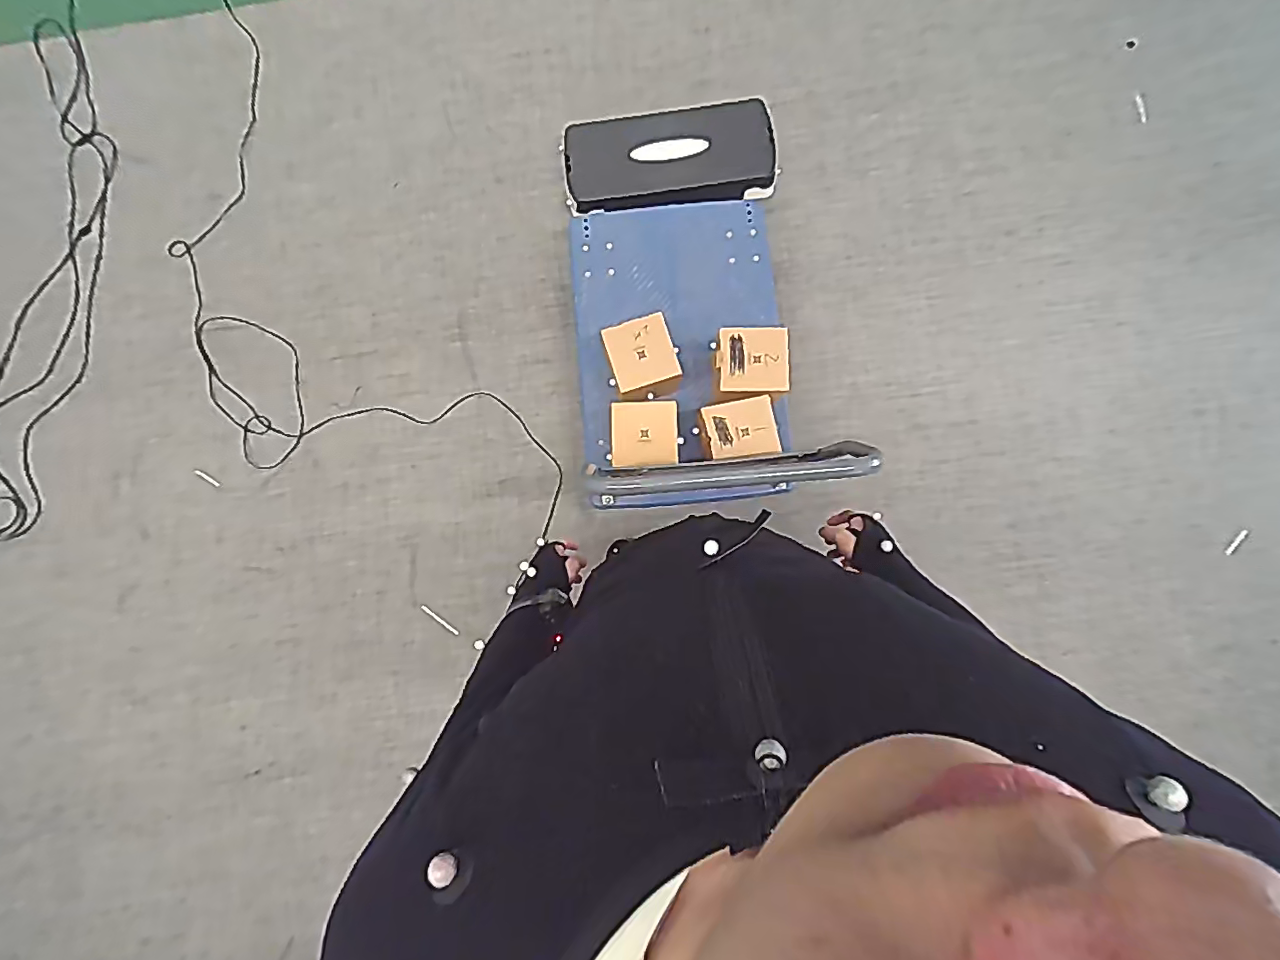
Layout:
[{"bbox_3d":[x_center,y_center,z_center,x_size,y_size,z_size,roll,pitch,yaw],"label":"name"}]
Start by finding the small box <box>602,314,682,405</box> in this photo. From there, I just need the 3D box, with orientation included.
[{"bbox_3d":[0.006,-0.310,1.442,0.168,0.176,0.179,-17,84,-2],"label":"small box"}]
